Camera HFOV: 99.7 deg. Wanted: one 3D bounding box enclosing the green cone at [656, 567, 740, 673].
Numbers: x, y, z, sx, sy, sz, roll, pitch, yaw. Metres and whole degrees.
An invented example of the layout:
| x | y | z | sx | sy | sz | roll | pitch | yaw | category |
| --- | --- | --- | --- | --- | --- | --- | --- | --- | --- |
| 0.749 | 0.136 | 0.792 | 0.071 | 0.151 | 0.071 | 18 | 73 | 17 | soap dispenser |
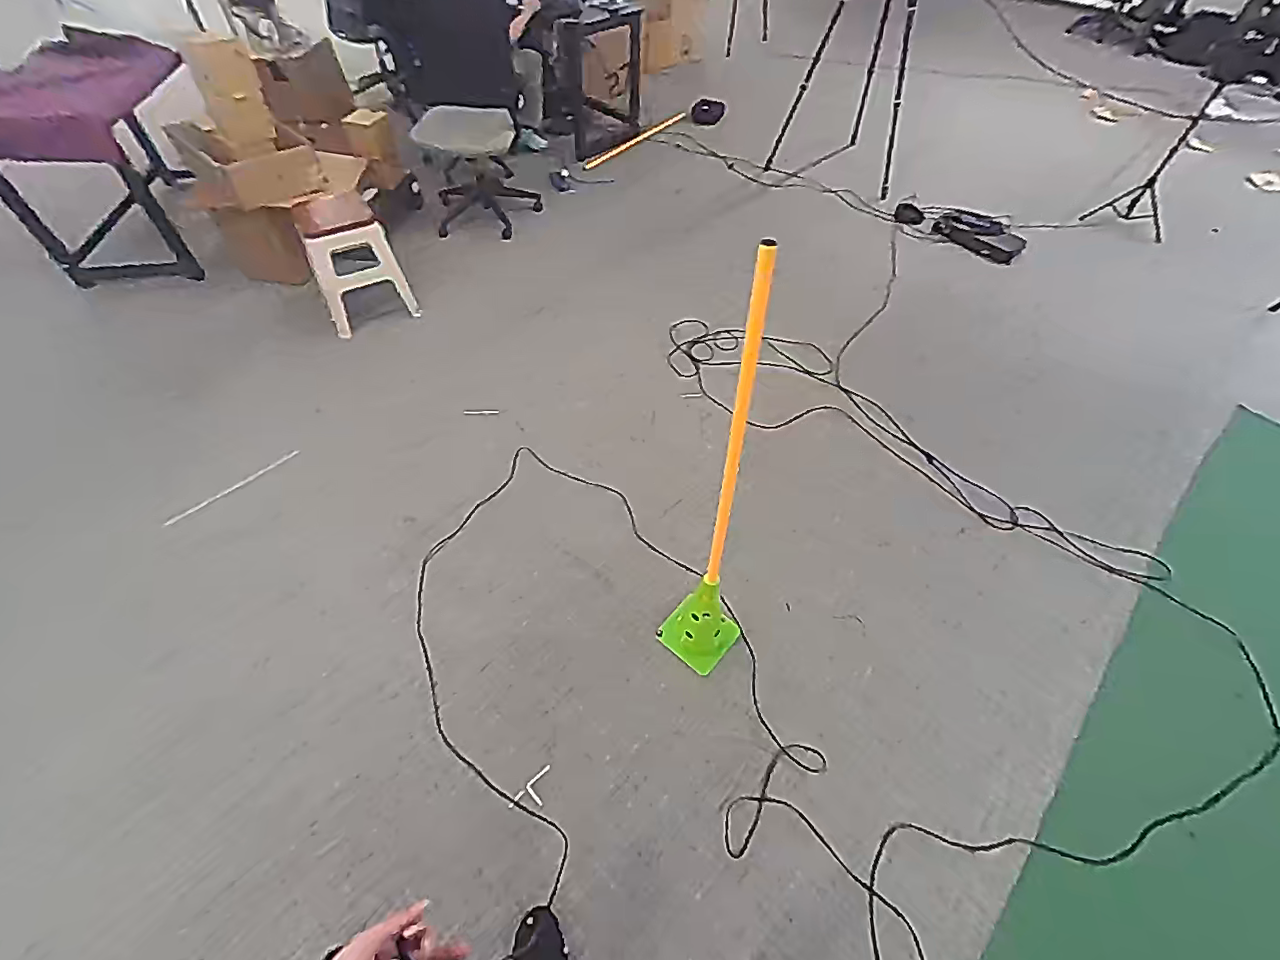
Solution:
| x | y | z | sx | sy | sz | roll | pitch | yaw | category |
| --- | --- | --- | --- | --- | --- | --- | --- | --- | --- |
| 0.184 | 0.354 | 1.517 | 0.200 | 0.368 | 0.202 | 35 | 58 | 23 | green cone |
